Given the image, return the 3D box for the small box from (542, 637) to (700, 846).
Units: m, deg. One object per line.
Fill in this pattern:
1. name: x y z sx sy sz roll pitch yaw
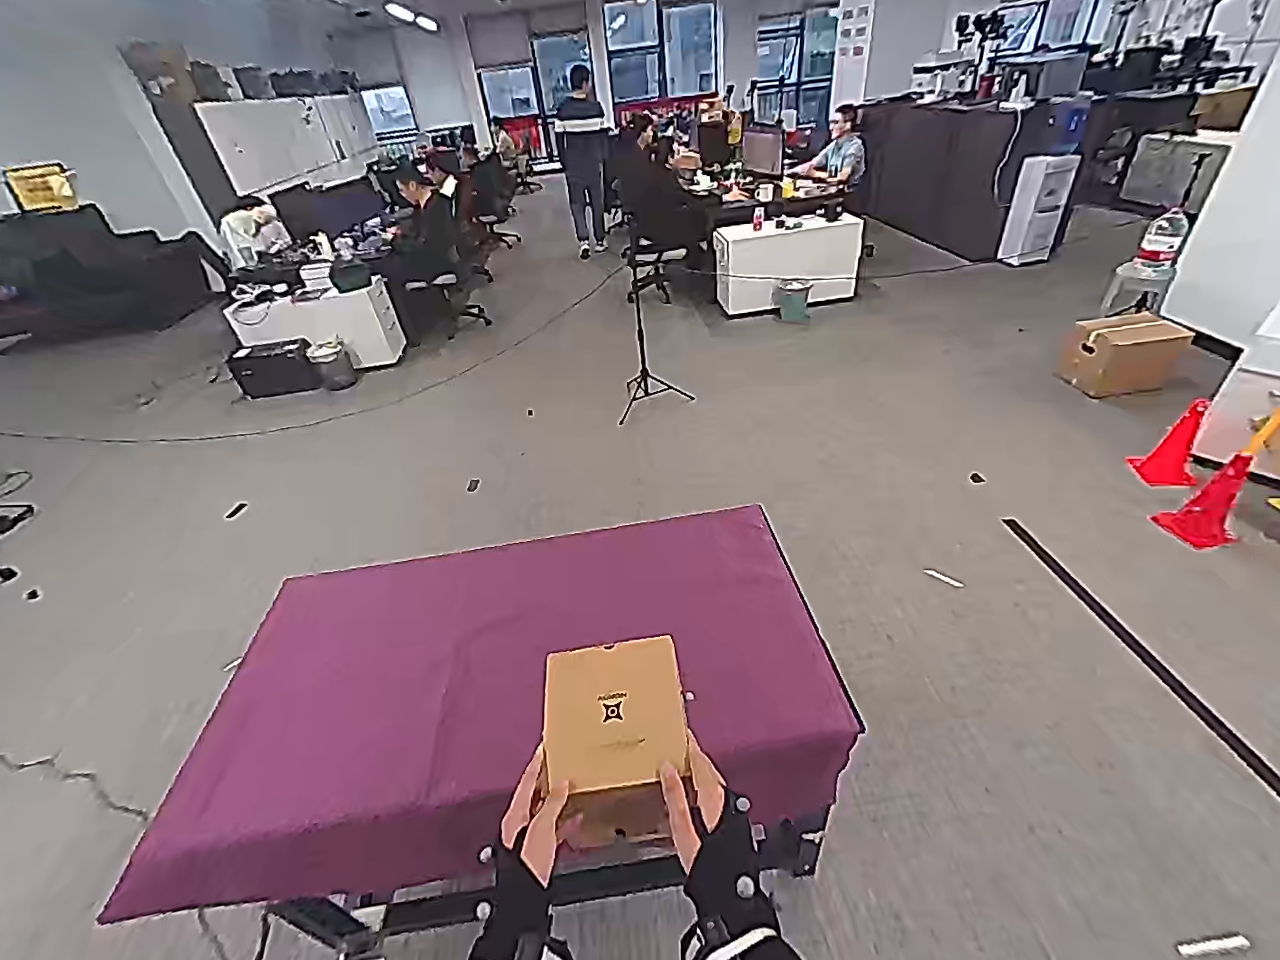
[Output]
1. small box: -0.019 0.330 0.688 0.168 0.176 0.179 -9 39 2
